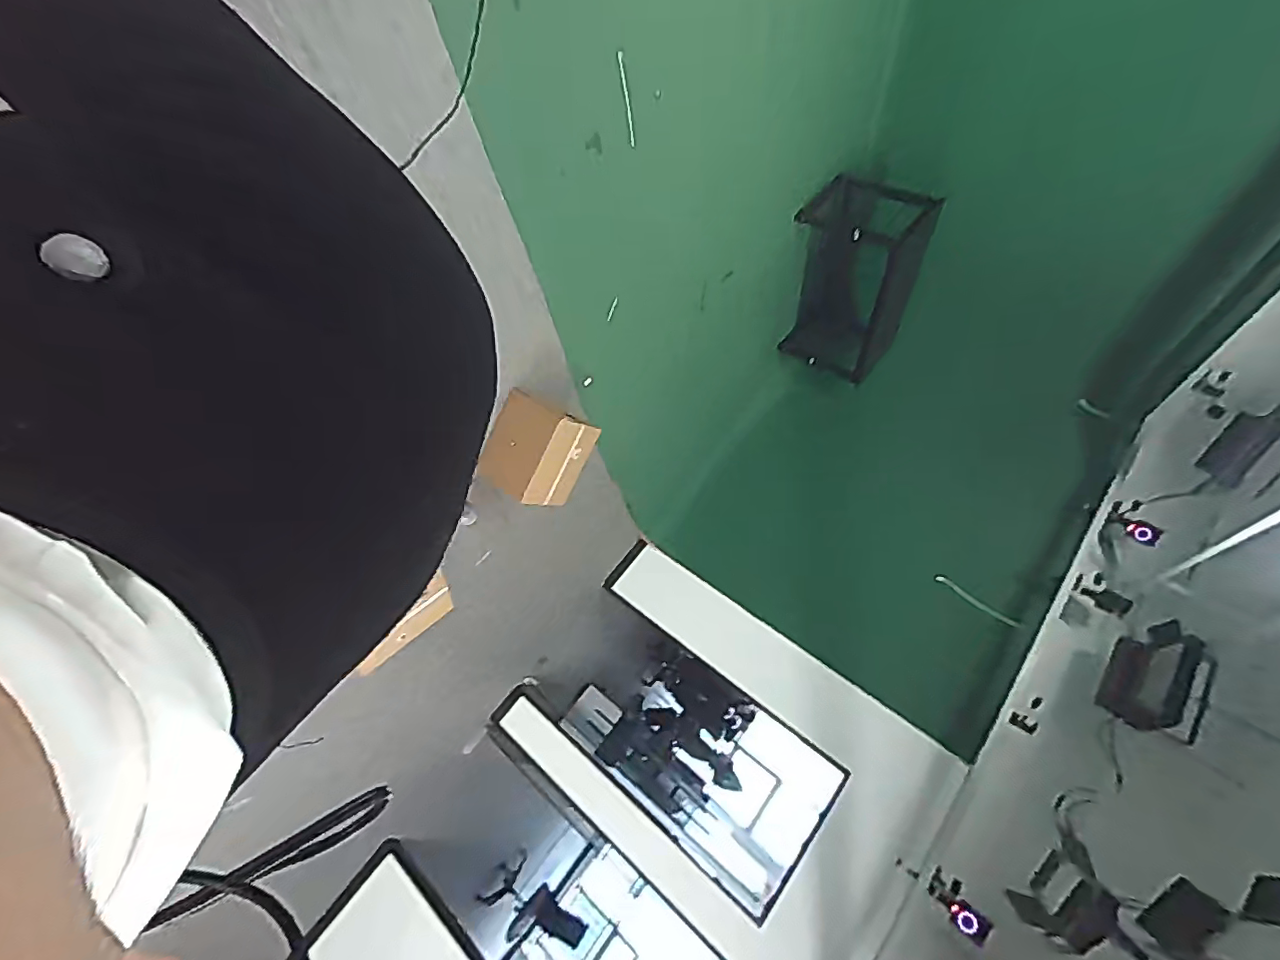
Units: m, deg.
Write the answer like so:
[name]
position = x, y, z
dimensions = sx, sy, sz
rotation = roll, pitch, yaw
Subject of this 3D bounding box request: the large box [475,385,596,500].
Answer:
[large box]
position = -0.471, -0.158, 2.422
dimensions = 0.320, 0.320, 0.408
rotation = 6, 113, -63
